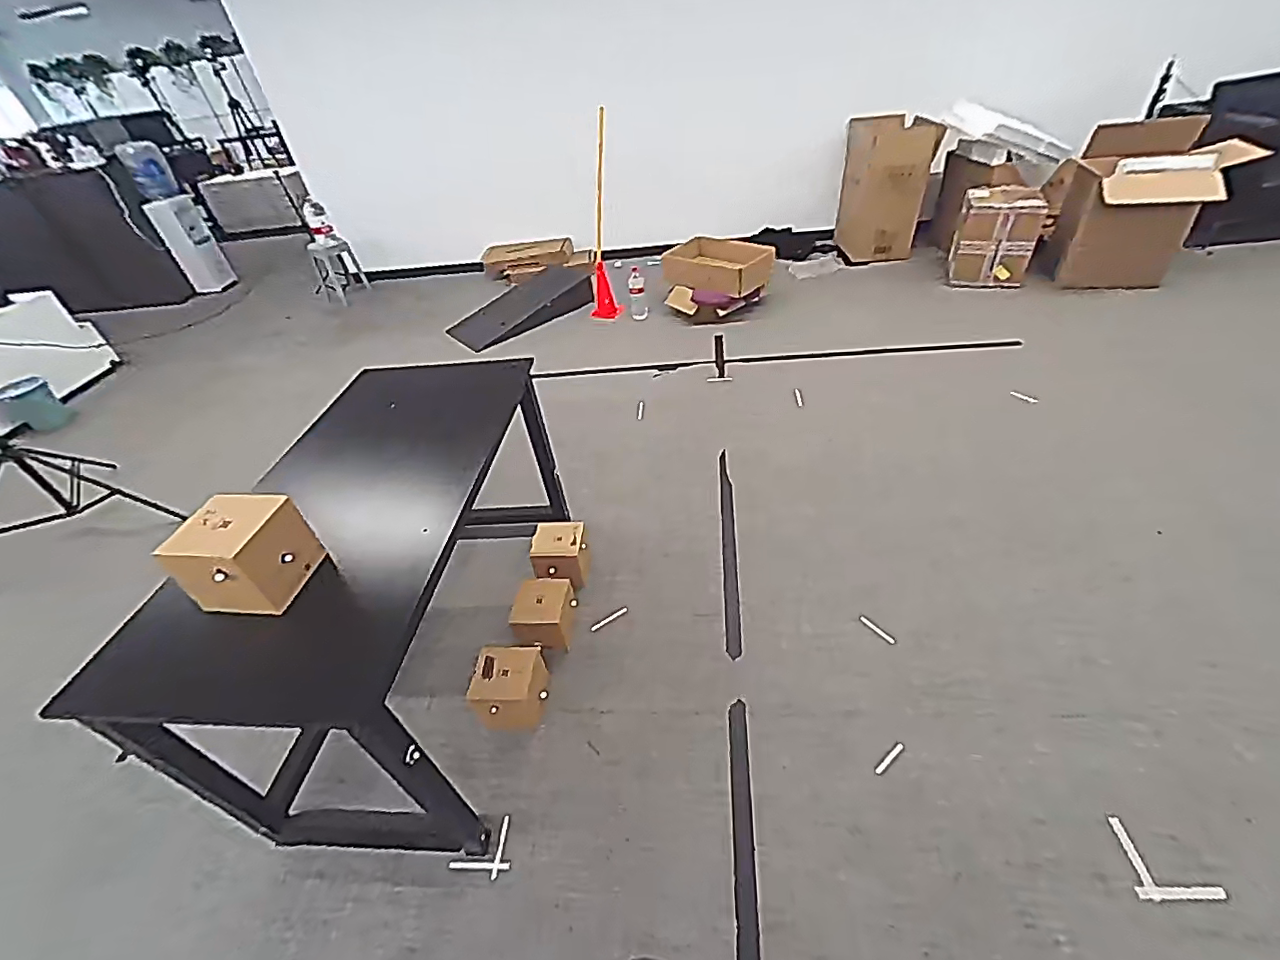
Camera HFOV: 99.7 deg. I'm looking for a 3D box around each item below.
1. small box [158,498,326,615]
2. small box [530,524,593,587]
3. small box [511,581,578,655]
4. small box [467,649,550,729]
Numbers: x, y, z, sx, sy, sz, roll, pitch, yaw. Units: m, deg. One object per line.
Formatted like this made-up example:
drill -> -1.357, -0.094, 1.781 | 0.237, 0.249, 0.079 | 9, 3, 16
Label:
small box -> -0.775, 0.153, 1.078 | 0.179, 0.176, 0.168 | 0, 40, 10
small box -> -0.282, 0.281, 1.977 | 0.179, 0.176, 0.168 | -3, 41, 7
small box -> -0.306, 0.453, 1.780 | 0.168, 0.176, 0.179 | -3, 40, 8
small box -> -0.379, 0.617, 1.595 | 0.179, 0.176, 0.168 | -2, 41, 7
